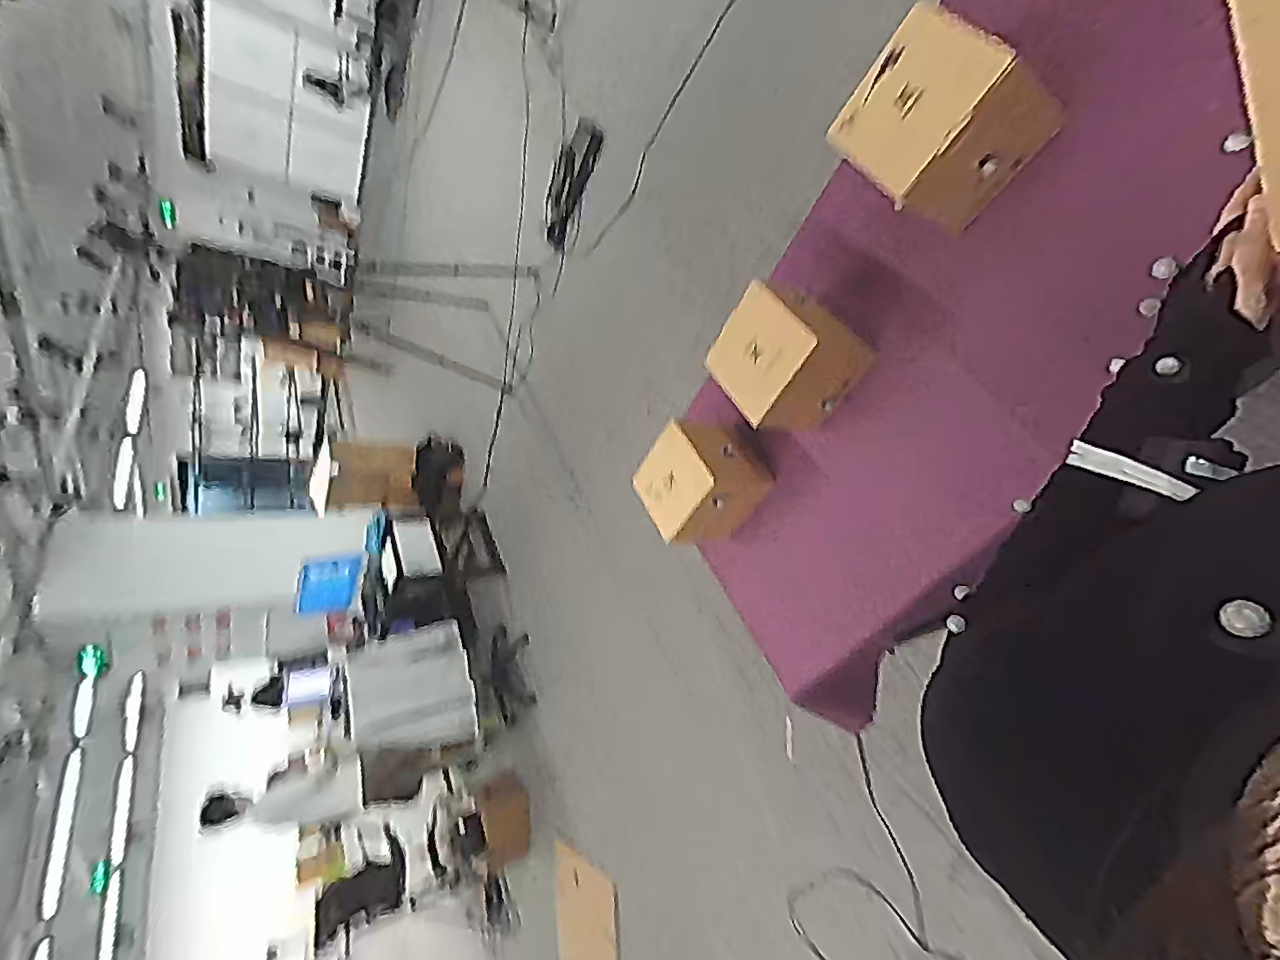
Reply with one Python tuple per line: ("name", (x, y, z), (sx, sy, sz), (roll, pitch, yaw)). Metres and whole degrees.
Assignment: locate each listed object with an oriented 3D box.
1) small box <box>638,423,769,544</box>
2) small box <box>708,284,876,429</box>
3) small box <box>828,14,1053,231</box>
("small box", (0.130, 0.008, 1.075), (0.179, 0.176, 0.168), (-57, 47, 34))
("small box", (0.254, -0.200, 0.920), (0.168, 0.176, 0.179), (-58, 47, 35))
("small box", (0.401, -0.464, 0.728), (0.168, 0.176, 0.179), (-52, 51, 38))
